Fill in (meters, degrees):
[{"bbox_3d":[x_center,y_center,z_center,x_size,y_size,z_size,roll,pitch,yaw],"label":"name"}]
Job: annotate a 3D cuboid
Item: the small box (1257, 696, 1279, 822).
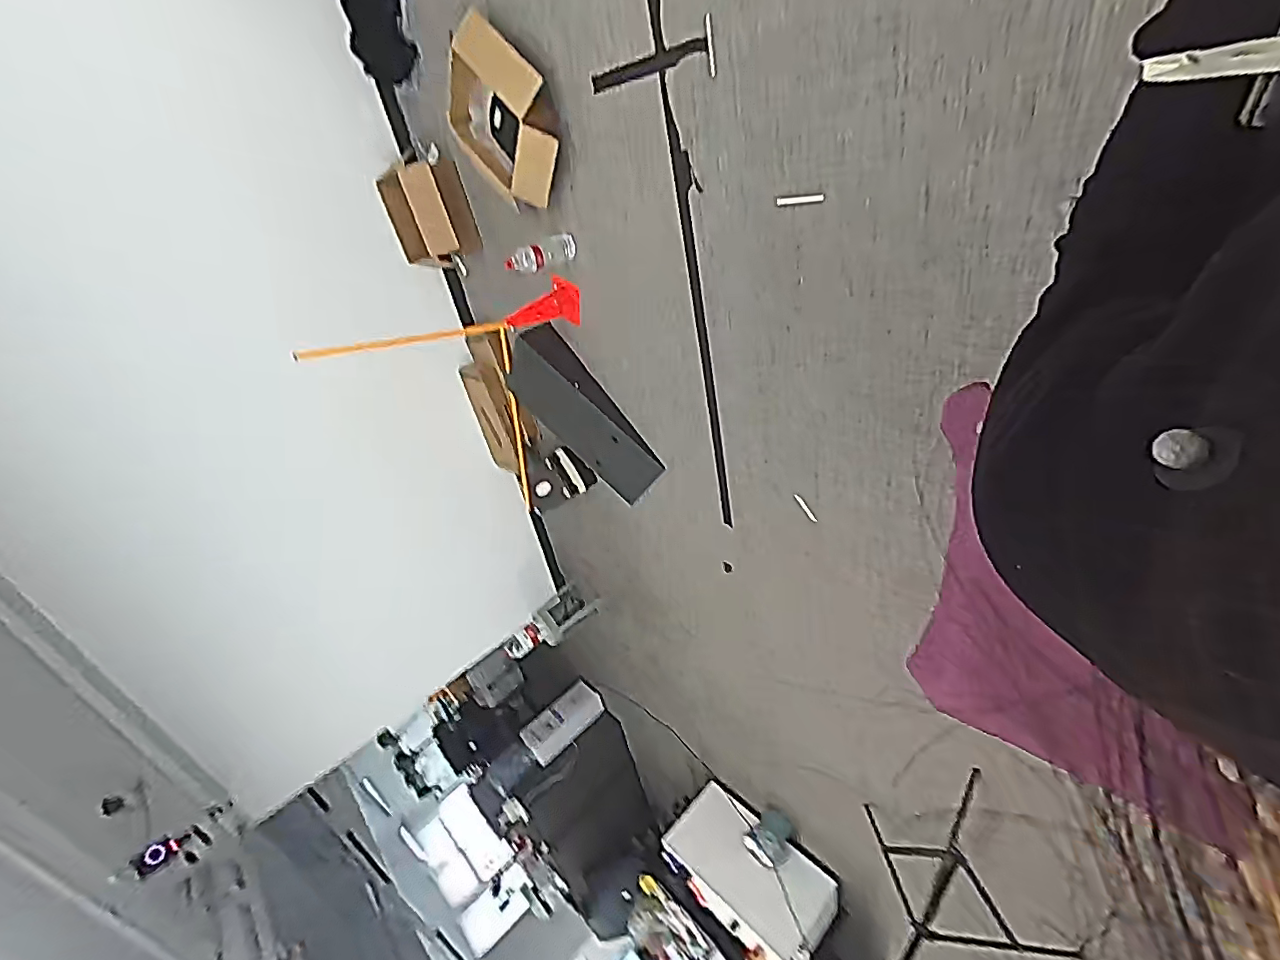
[{"bbox_3d":[0.771,0.278,0.526,0.179,0.176,0.168,24,135,43],"label":"small box"}]
